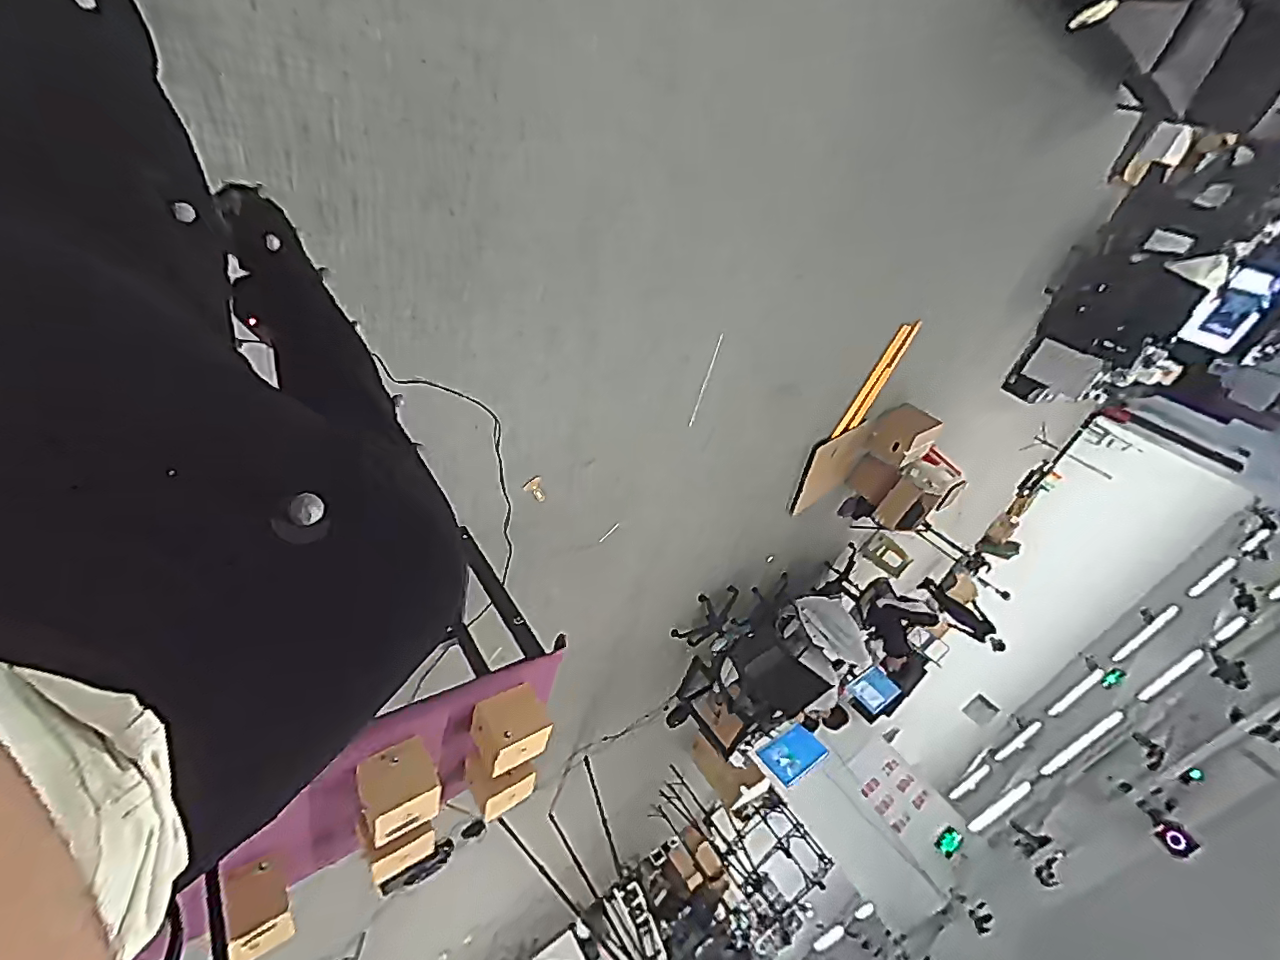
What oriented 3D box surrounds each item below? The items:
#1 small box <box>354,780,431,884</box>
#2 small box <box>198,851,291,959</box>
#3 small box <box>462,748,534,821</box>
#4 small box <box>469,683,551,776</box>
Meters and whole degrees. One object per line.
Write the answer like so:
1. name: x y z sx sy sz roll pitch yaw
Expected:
1. small box: -0.745 1.048 1.621 0.179 0.176 0.168 -14 135 -37
2. small box: -1.021 1.107 1.400 0.168 0.176 0.179 -11 134 -38
3. small box: -0.481 0.993 1.825 0.179 0.176 0.168 -14 135 -35
4. small box: -0.404 0.762 1.667 0.179 0.176 0.168 -11 135 -37
